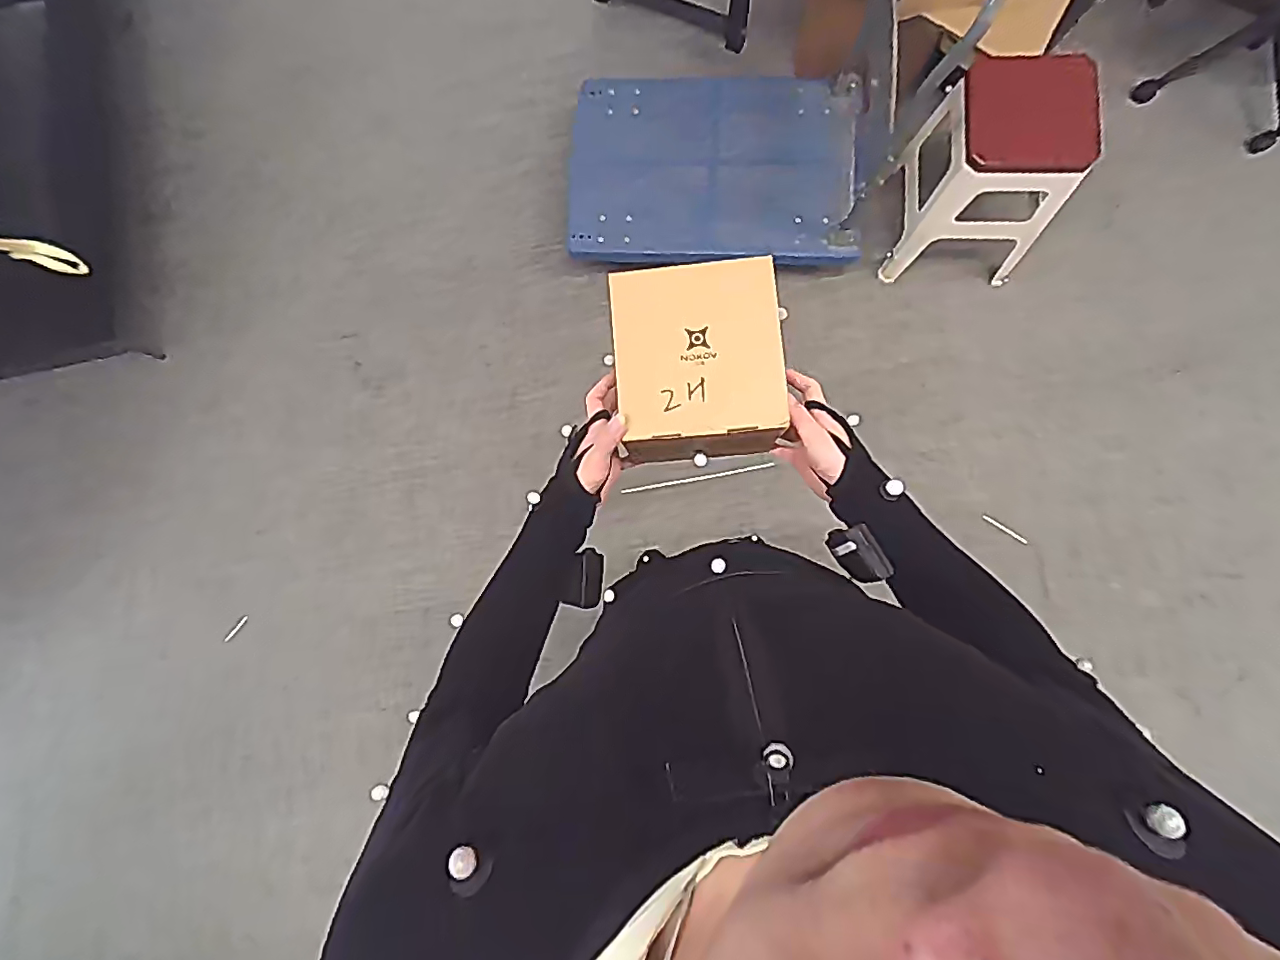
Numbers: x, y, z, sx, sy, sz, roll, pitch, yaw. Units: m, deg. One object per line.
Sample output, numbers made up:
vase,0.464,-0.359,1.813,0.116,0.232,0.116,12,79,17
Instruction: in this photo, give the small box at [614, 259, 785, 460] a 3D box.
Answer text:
small box,0.062,-0.125,0.620,0.168,0.176,0.179,-4,84,4
